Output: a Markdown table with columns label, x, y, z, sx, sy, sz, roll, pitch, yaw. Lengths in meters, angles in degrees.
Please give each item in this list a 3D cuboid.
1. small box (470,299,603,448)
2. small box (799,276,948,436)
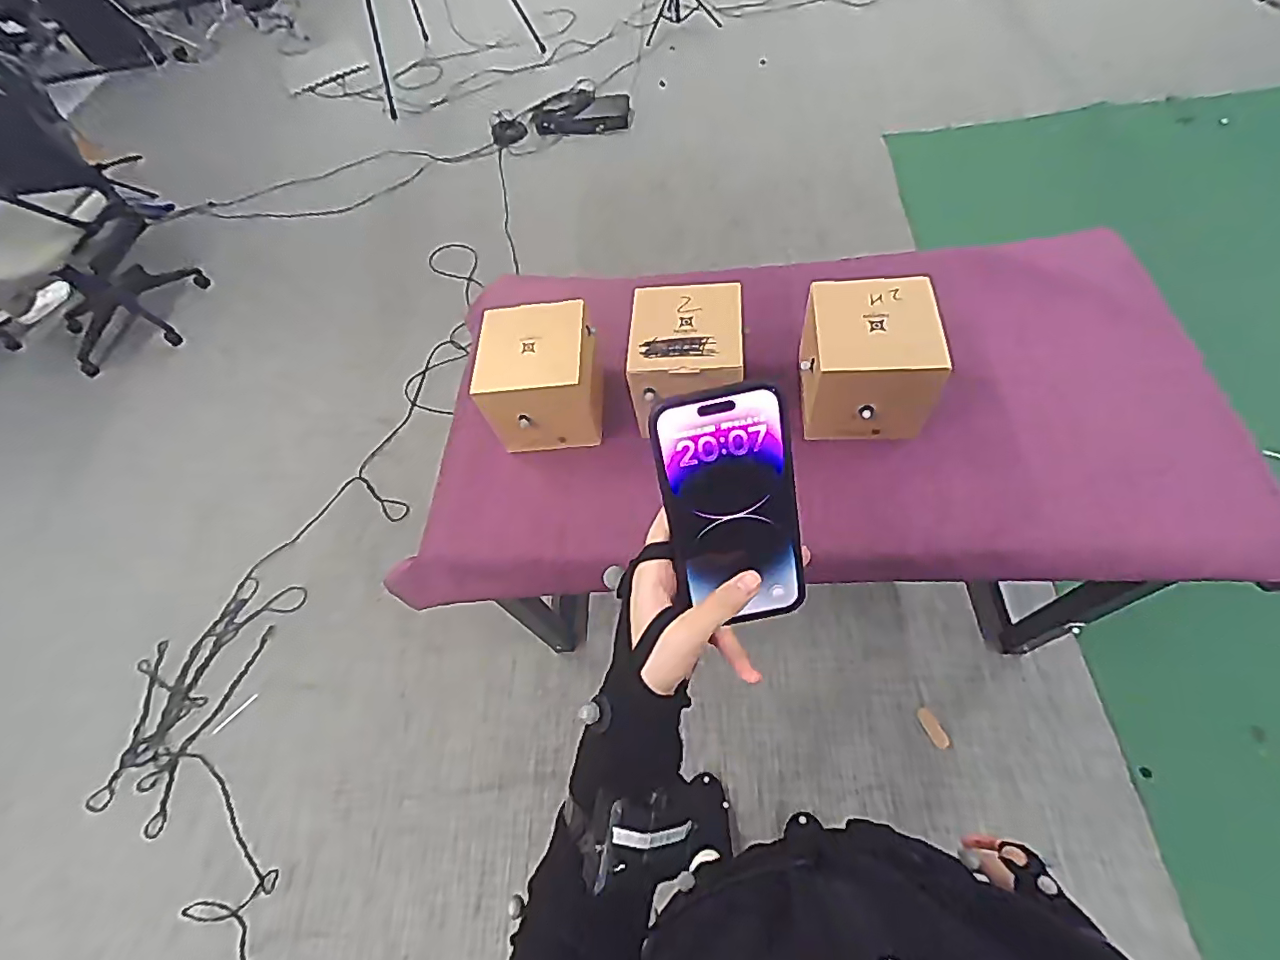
| label | x | y | z | sx | sy | sz | roll | pitch | yaw |
| --- | --- | --- | --- | --- | --- | --- | --- | --- | --- |
| small box | -0.158 | -0.165 | 0.889 | 0.168 | 0.176 | 0.179 | -5 | 59 | 6 |
| small box | 0.337 | -0.179 | 0.818 | 0.168 | 0.176 | 0.179 | 1 | 60 | 9 |
